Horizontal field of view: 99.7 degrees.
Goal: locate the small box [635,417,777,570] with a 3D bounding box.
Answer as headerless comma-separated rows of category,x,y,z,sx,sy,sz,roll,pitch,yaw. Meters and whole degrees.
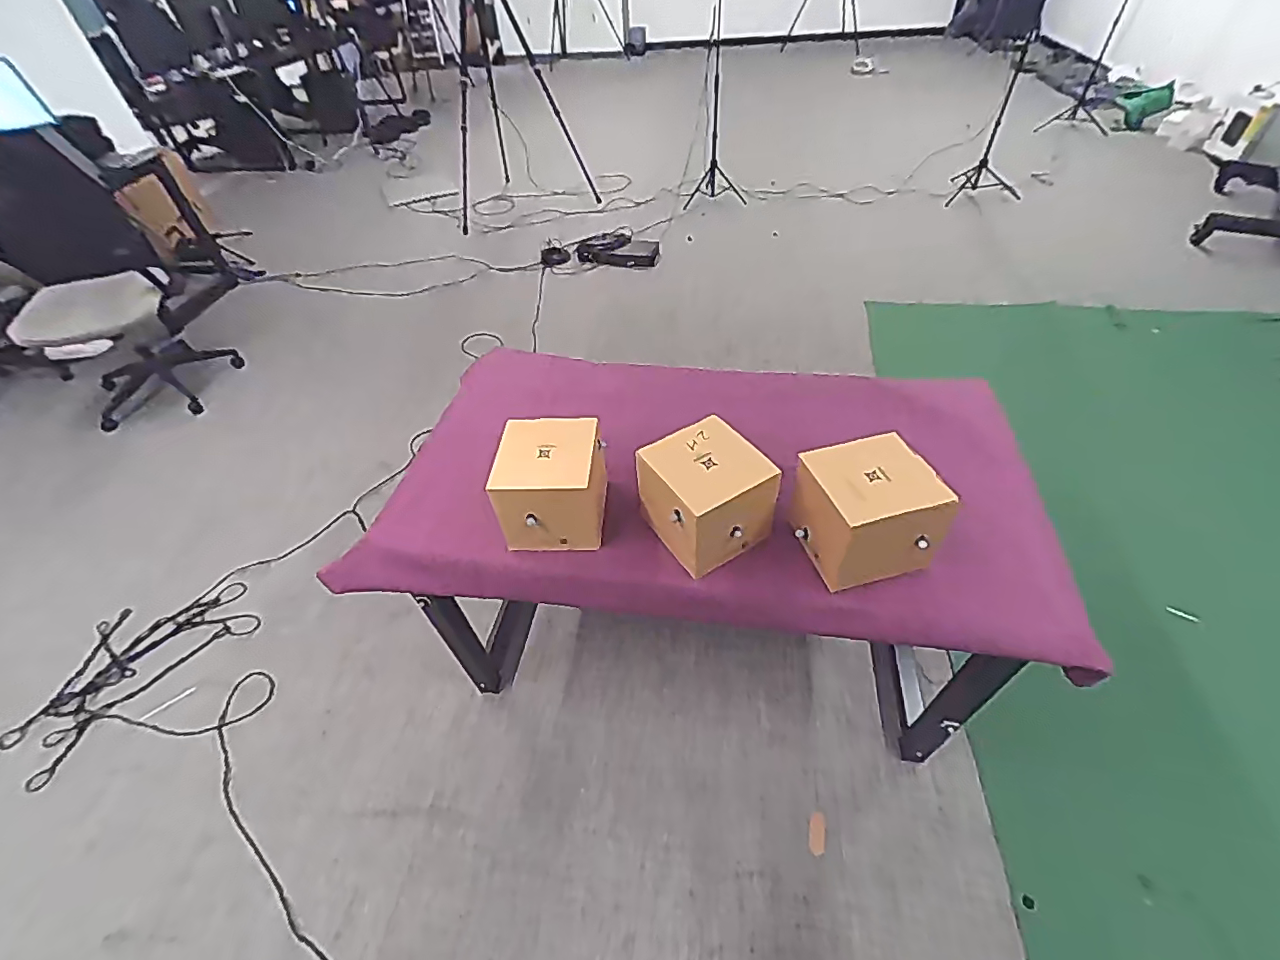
small box,0.108,0.029,0.925,0.168,0.176,0.179,-25,50,-20

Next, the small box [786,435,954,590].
small box,0.360,0.055,0.885,0.179,0.176,0.168,-13,45,-7

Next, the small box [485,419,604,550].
small box,-0.158,0.011,0.963,0.168,0.176,0.179,-1,45,3
